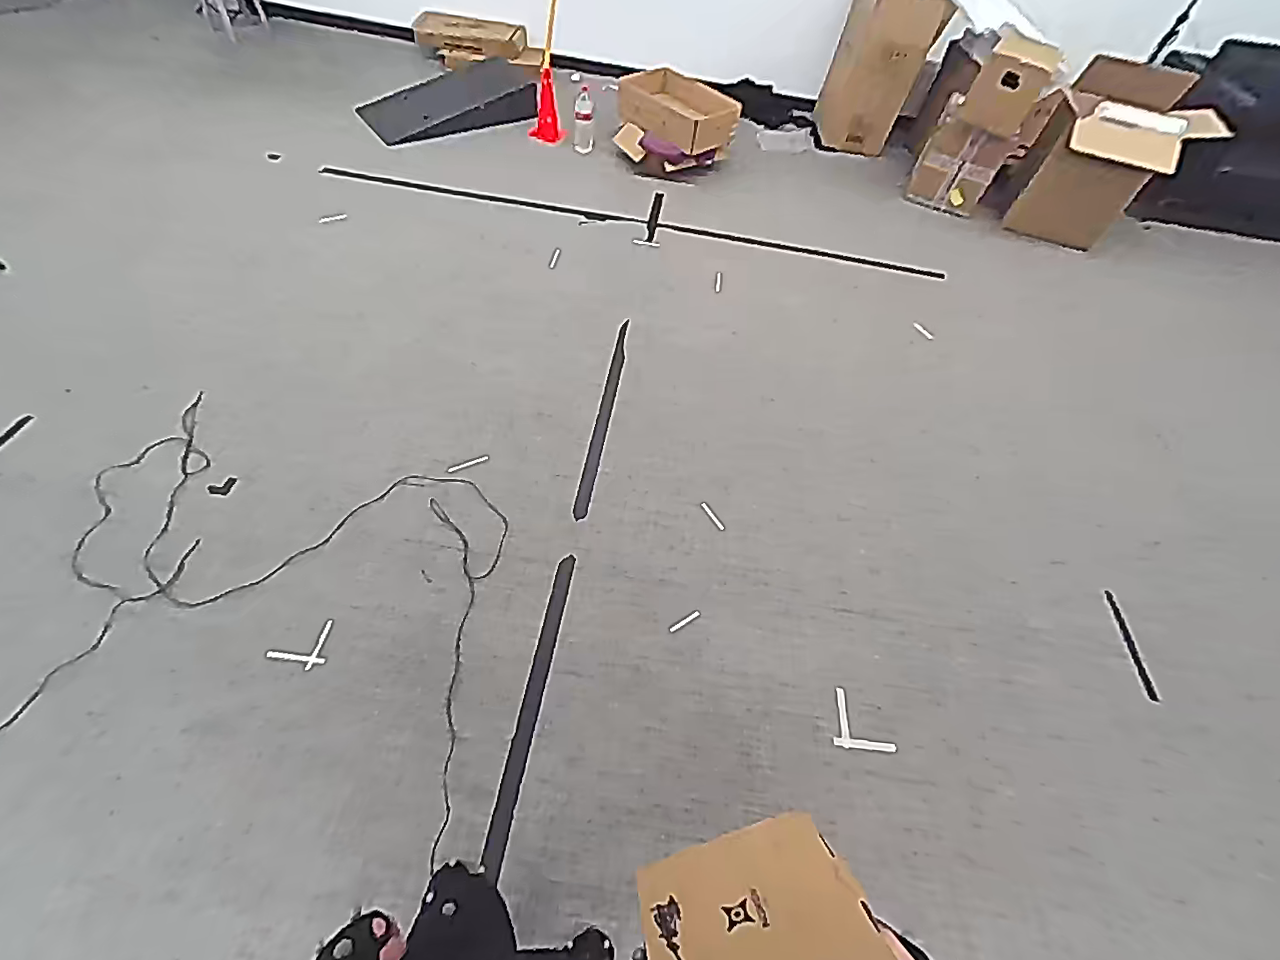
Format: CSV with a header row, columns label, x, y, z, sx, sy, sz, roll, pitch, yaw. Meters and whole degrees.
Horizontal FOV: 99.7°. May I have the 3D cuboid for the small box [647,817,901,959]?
label,x,y,z,sx,sy,sz,roll,pitch,yaw
small box,0.116,0.439,0.457,0.179,0.168,0.176,-15,94,-5
